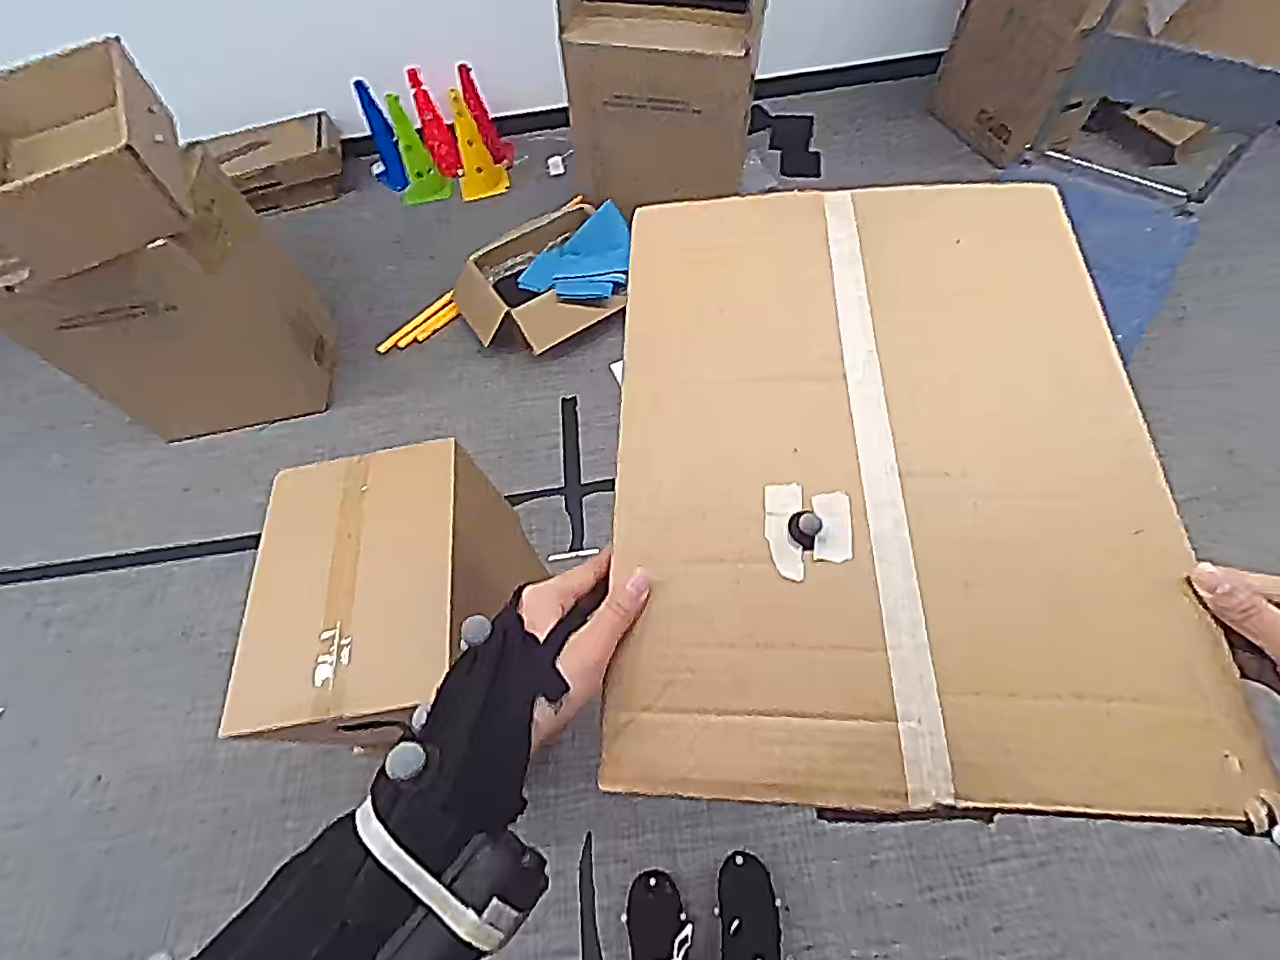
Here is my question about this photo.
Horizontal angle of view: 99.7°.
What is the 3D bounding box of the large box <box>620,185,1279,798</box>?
[{"bbox_3d":[0.157,0.022,0.472,0.320,0.320,0.408,-1,67,6],"label":"large box"}]
